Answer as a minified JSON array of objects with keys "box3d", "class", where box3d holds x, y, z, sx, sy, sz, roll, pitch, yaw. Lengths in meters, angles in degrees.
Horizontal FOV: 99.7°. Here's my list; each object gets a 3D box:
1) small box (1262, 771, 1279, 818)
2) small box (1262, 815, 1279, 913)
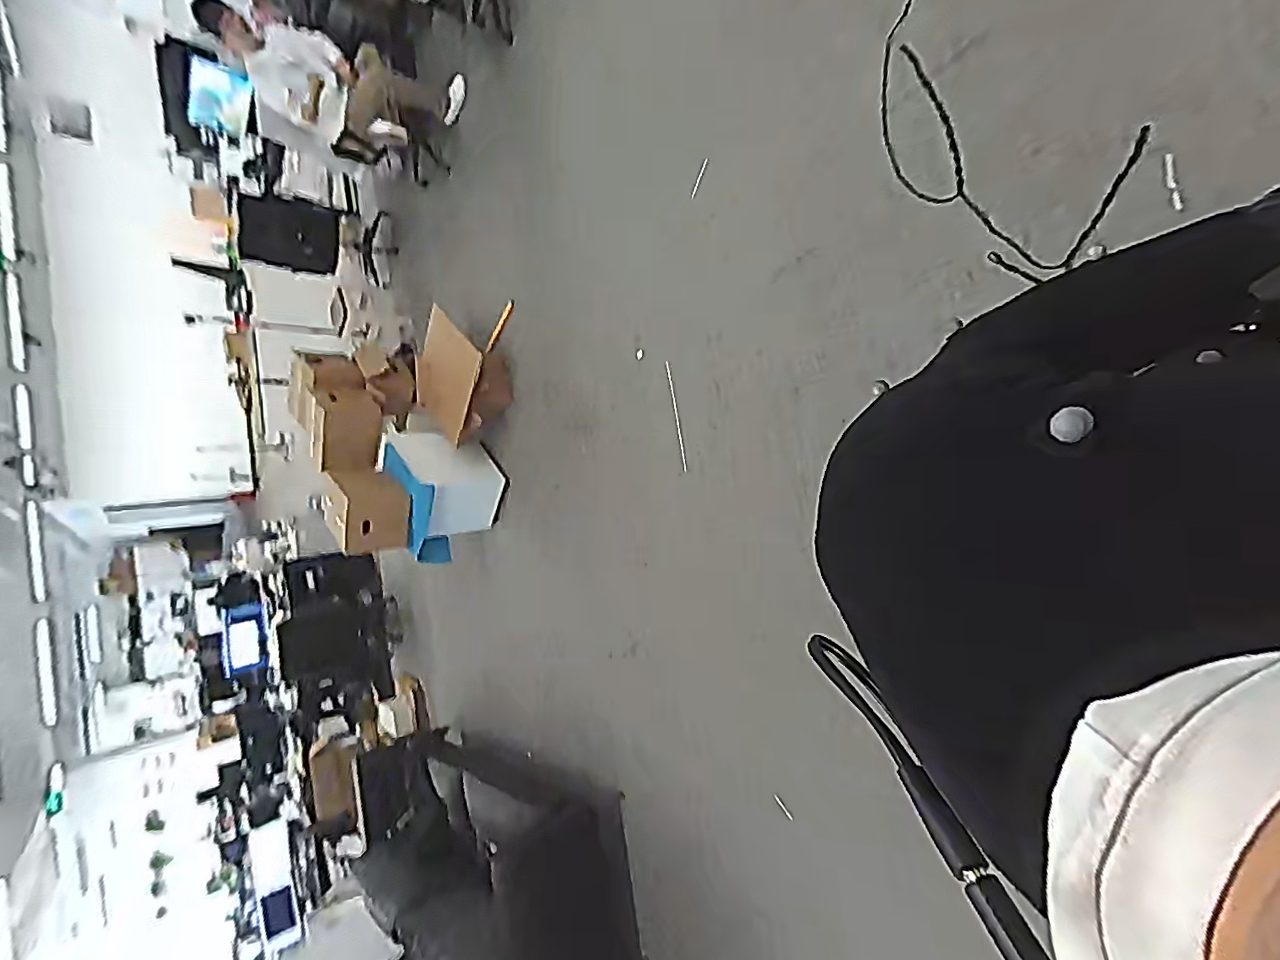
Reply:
[{"box3d":[1.257,0.660,0.971,0.168,0.176,0.179,-7,89,46],"class":"small box"},{"box3d":[1.138,0.670,0.857,0.179,0.176,0.168,-13,83,47],"class":"small box"}]
